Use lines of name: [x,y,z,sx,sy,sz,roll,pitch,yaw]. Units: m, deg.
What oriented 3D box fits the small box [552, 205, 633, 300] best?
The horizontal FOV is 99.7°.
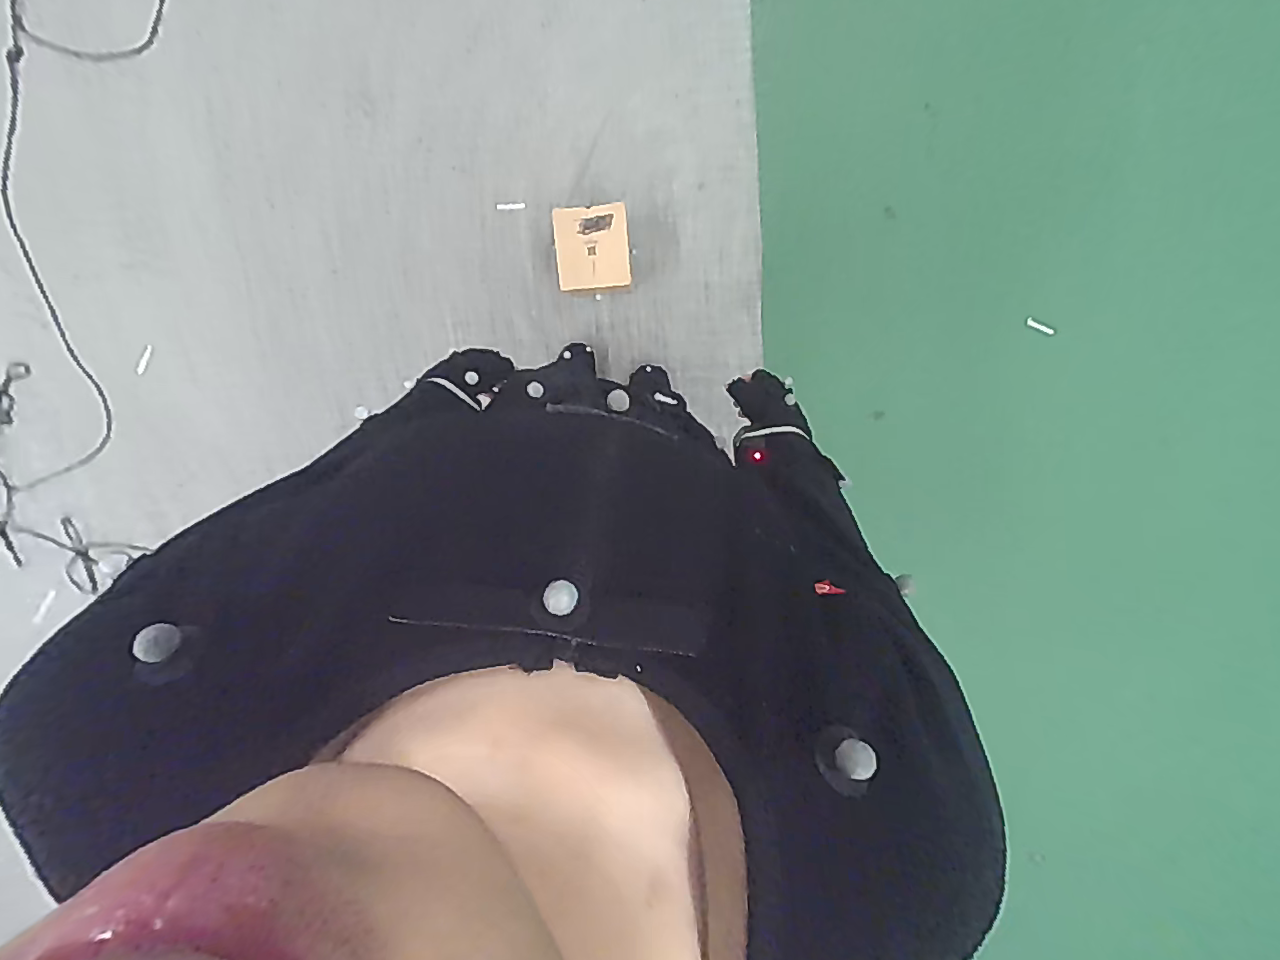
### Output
small box: [-0.106,-0.532,1.284,0.168,0.176,0.179,-4,104,3]
